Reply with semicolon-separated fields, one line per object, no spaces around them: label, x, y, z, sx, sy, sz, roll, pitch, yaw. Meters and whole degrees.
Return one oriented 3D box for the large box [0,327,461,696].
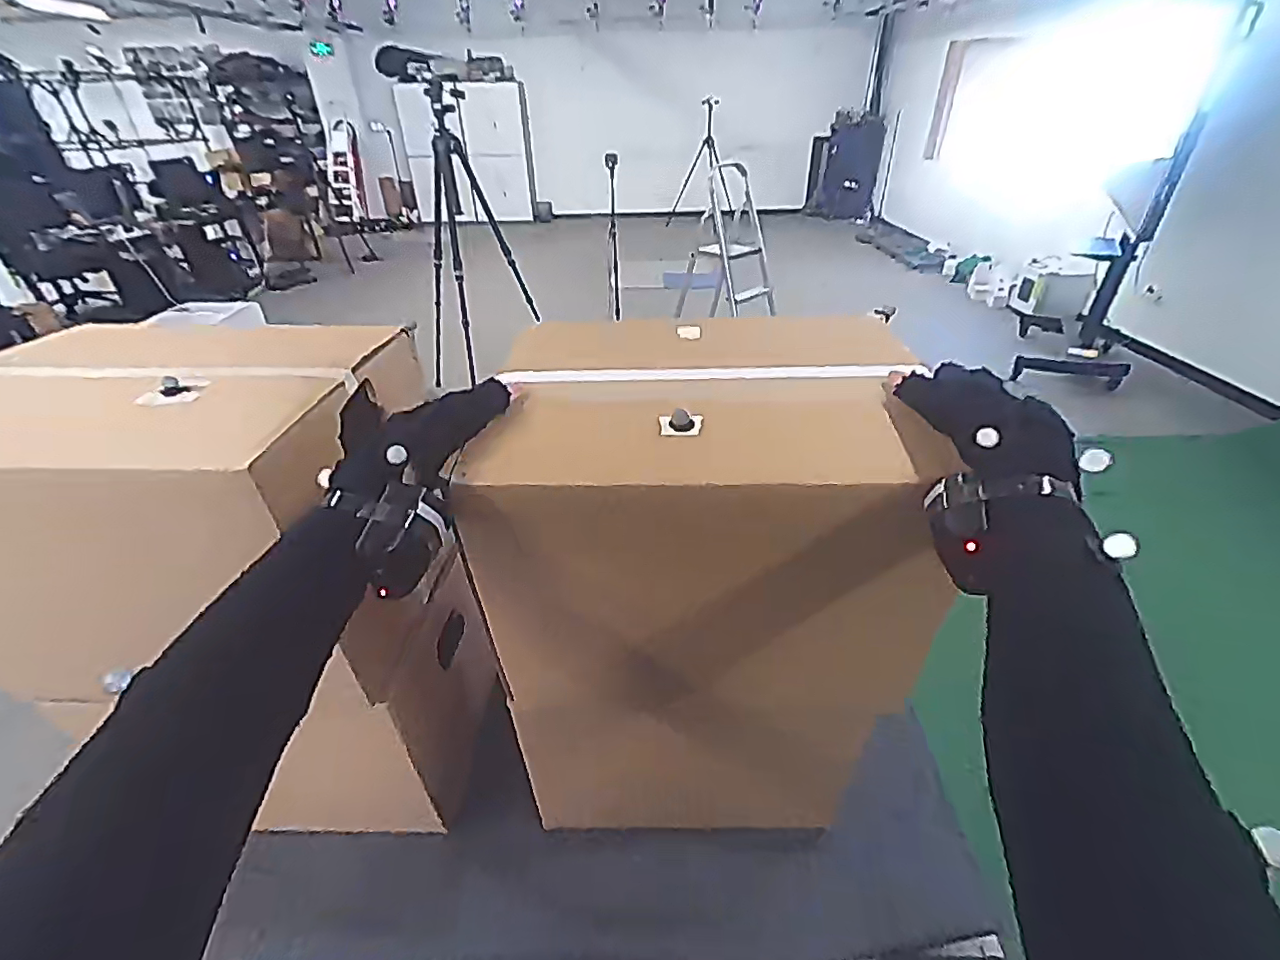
large box;-0.472;0.025;0.624;0.408;0.320;0.320;2;36;1
